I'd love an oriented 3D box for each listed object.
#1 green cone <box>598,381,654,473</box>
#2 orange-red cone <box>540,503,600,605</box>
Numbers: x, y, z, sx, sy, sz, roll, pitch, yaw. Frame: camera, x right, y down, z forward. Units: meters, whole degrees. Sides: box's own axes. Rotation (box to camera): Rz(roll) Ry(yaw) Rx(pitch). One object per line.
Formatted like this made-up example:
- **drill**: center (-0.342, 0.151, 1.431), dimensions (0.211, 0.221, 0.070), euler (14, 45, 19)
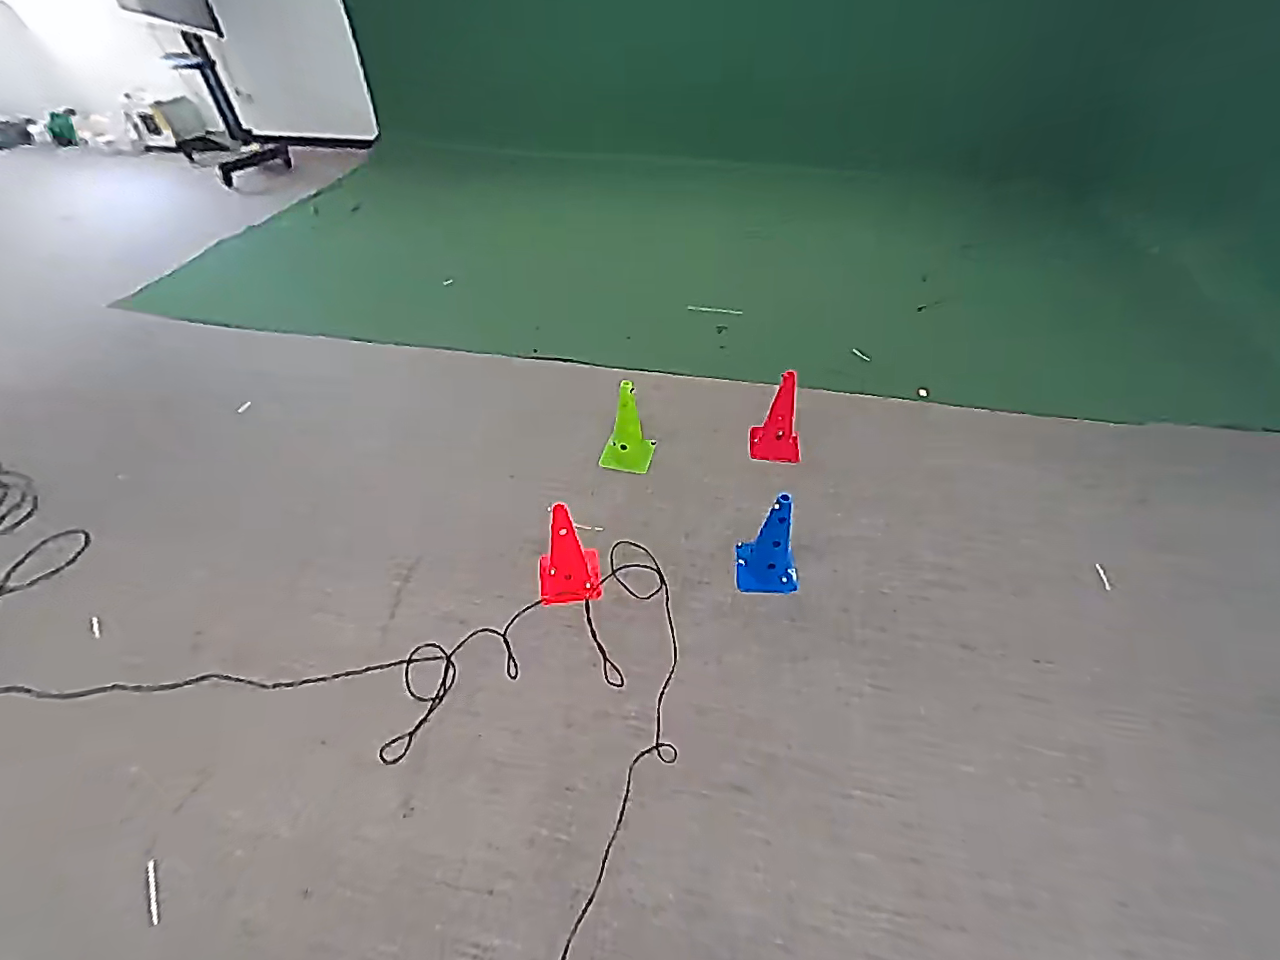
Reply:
- **green cone**: center (-0.059, -0.227, 2.092), dimensions (0.200, 0.368, 0.202), euler (9, 47, 9)
- **orange-red cone**: center (-0.232, 0.203, 1.679), dimensions (0.198, 0.360, 0.199), euler (-5, 44, -6)
